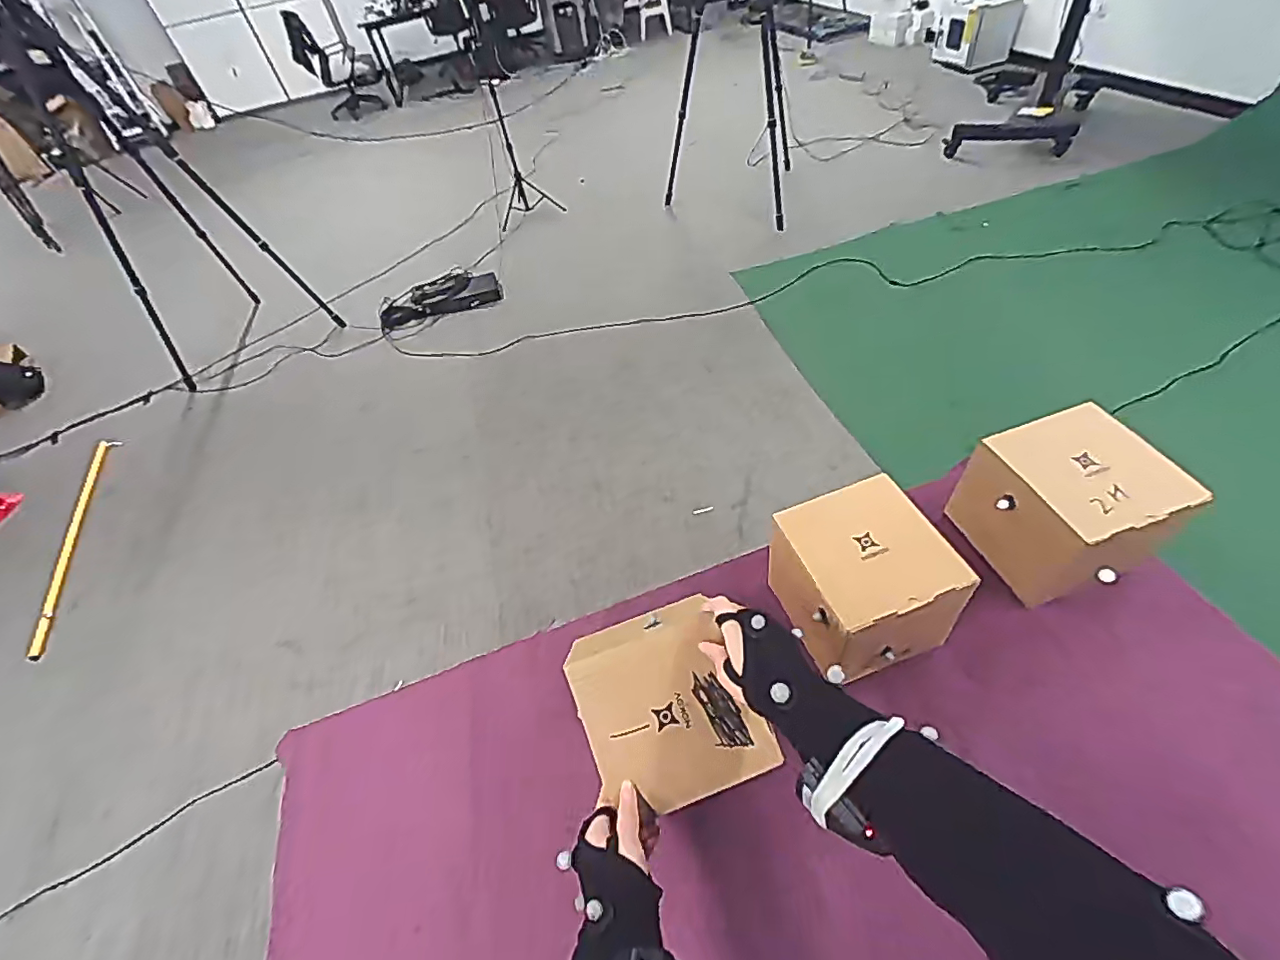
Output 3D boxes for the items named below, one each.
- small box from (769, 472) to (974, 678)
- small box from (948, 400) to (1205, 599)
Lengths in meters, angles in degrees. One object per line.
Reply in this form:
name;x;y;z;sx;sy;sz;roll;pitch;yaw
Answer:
small box;0.279;0.125;0.704;0.168;0.176;0.179;-20;50;-6
small box;0.551;0.029;0.720;0.168;0.176;0.179;-19;52;-3
